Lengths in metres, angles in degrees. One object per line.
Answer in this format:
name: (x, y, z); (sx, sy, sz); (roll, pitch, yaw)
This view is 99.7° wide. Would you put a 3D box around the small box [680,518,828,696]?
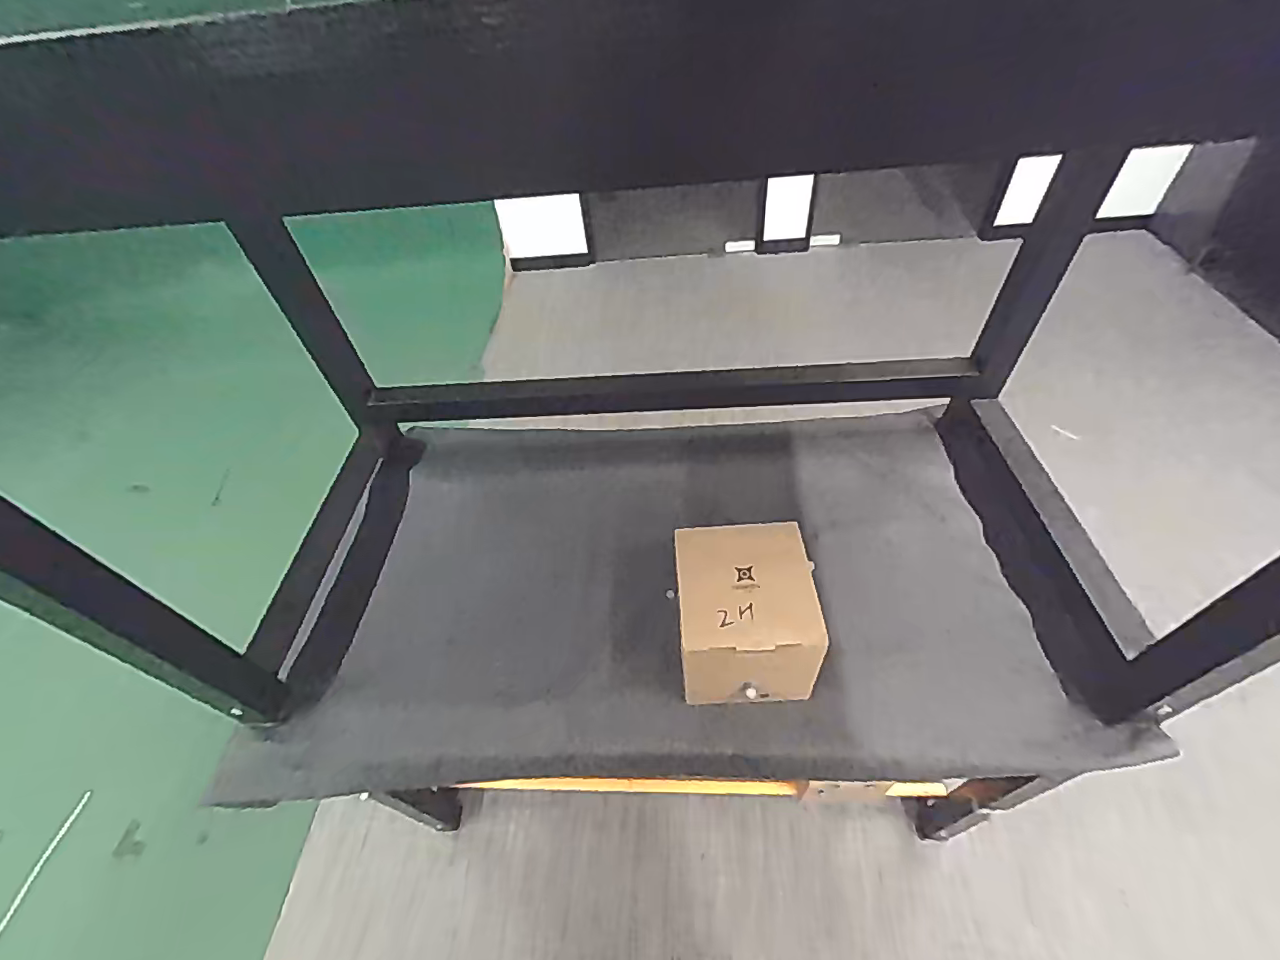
small box: (0.139, 0.172, 0.732); (0.168, 0.176, 0.179); (-4, 47, 4)
